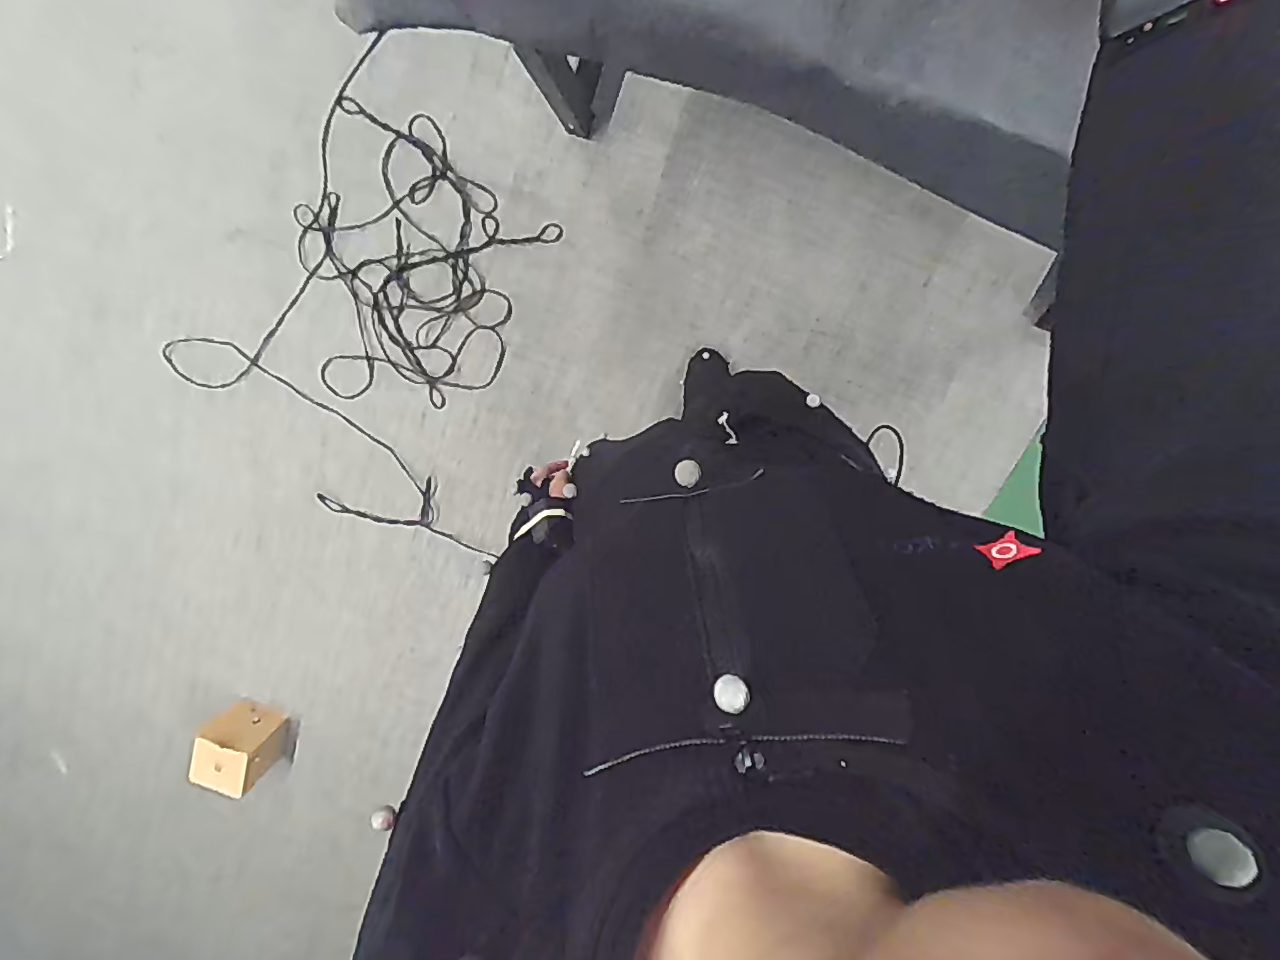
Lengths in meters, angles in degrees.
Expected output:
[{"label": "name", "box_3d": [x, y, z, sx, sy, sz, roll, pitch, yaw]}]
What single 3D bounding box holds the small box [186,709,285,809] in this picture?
[{"label": "small box", "box_3d": [-1.215, 0.837, 1.633, 0.168, 0.176, 0.179, 20, 105, 0]}]
